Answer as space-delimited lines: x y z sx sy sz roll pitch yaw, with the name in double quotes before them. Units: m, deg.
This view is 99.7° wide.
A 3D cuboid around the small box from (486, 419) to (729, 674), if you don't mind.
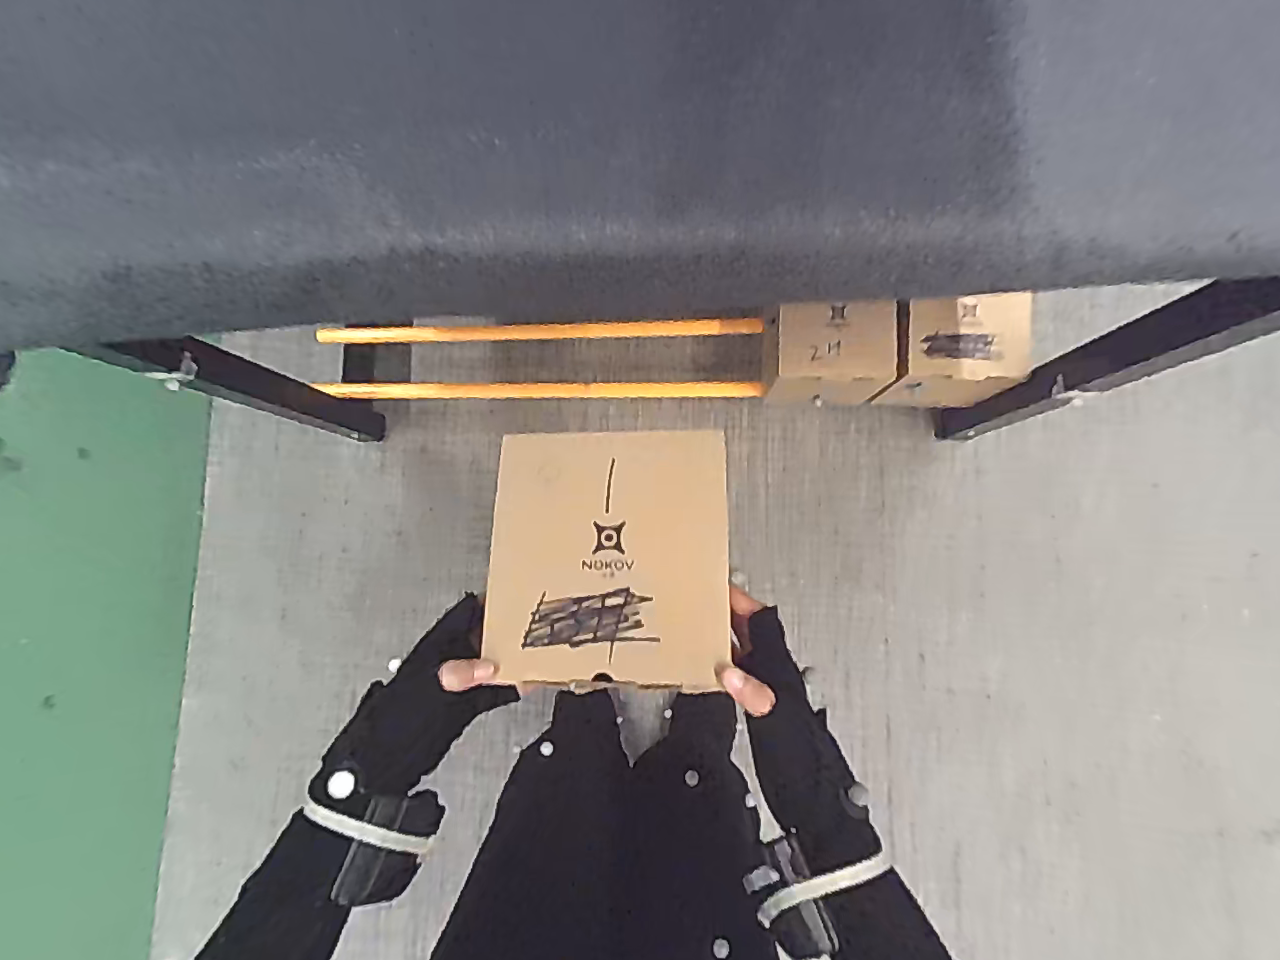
"small box" -0.011 0.063 0.450 0.168 0.176 0.179 -1 72 6
